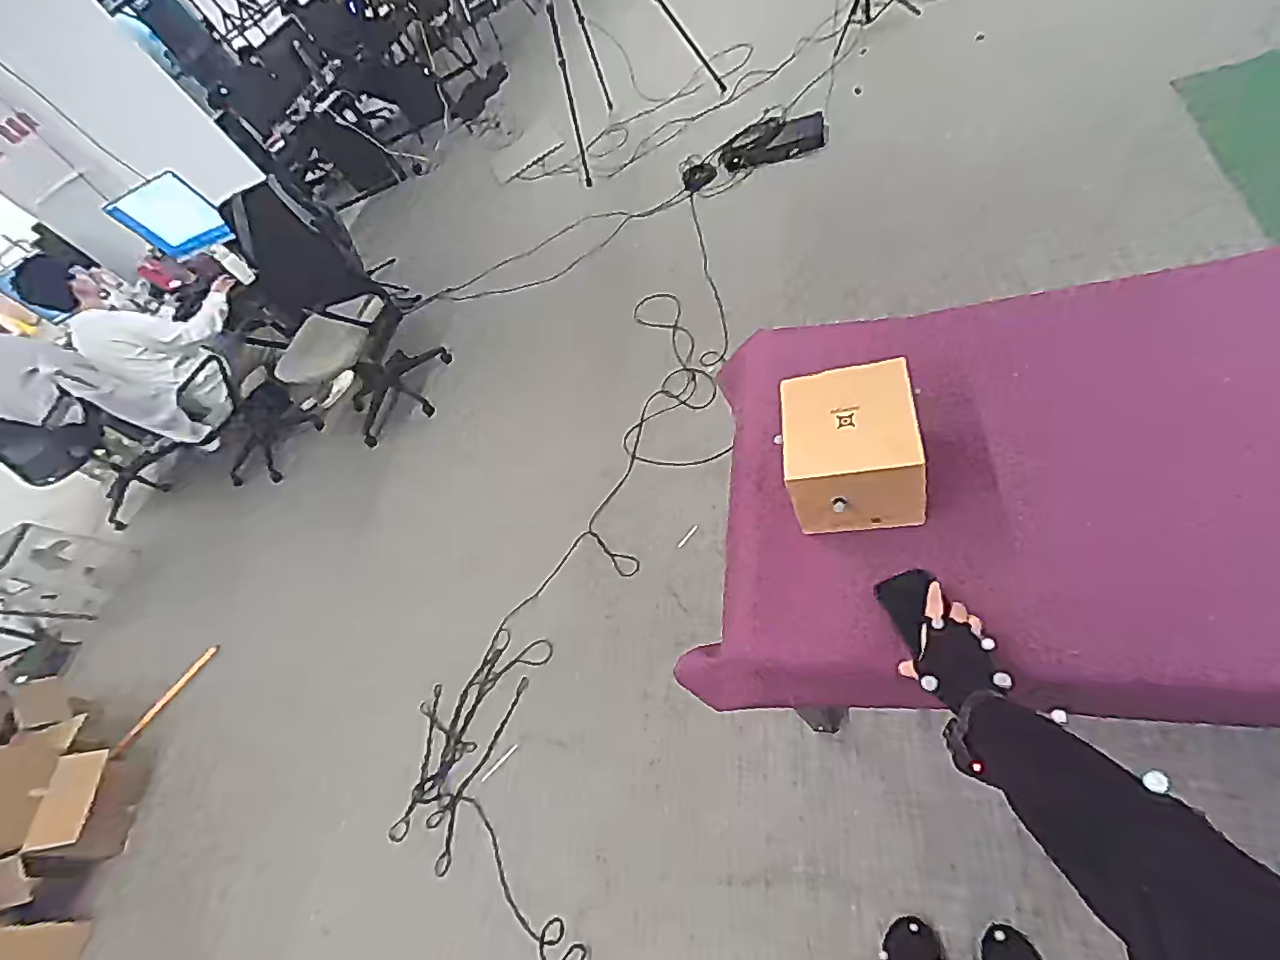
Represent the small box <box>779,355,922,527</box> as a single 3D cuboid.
[{"bbox_3d":[0.299,-0.043,0.771,0.168,0.176,0.179,-8,55,23],"label":"small box"}]
